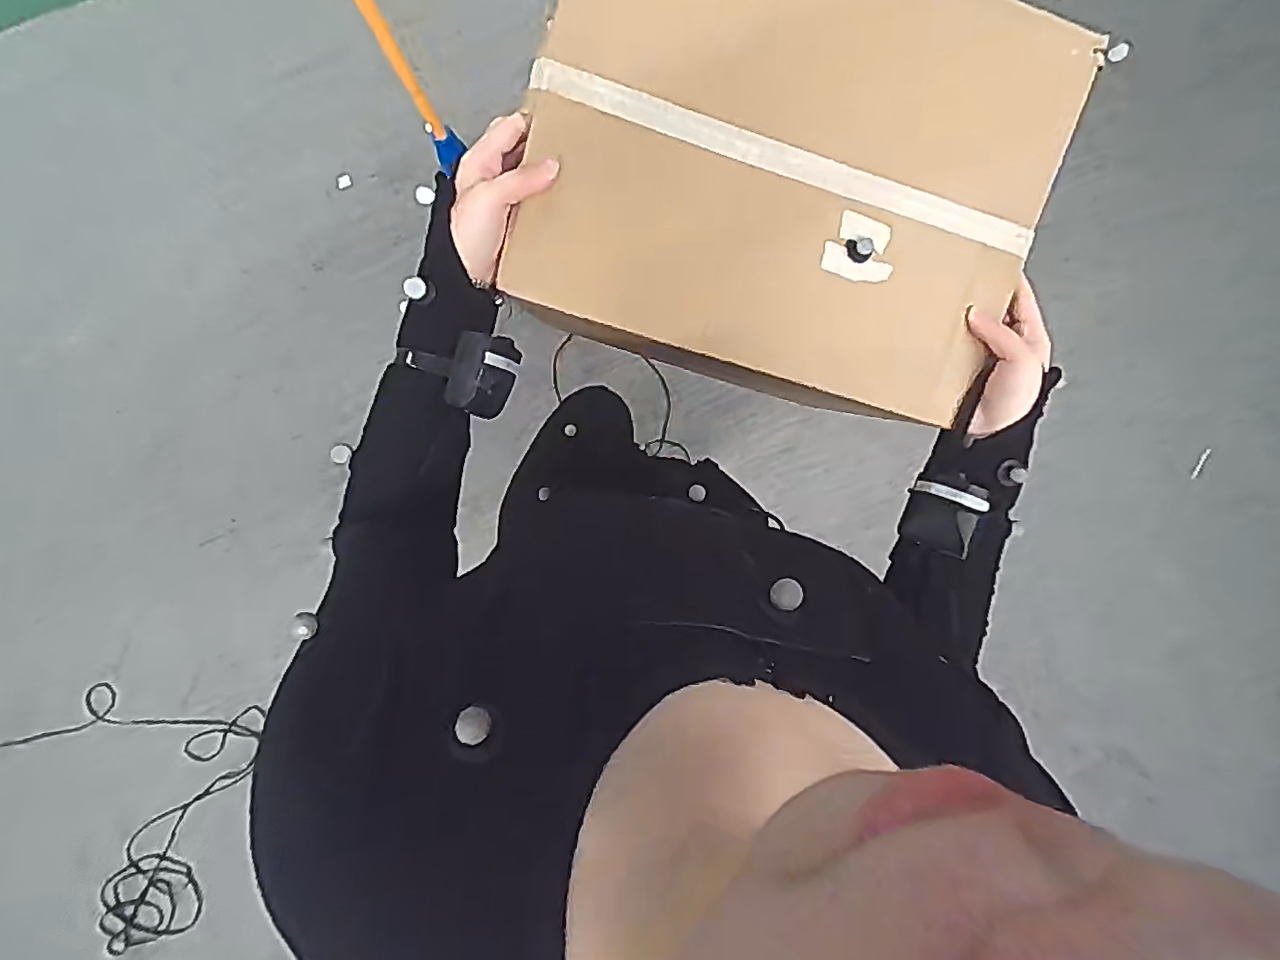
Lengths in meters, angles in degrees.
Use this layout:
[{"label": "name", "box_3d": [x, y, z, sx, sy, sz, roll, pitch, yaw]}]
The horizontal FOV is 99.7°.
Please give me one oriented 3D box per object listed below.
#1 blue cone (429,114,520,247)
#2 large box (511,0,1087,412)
[{"label": "blue cone", "box_3d": [-0.411, -0.710, 1.258, 0.193, 0.380, 0.192, -15, 94, -2]}, {"label": "large box", "box_3d": [0.111, -0.279, 0.571, 0.408, 0.320, 0.320, 15, 100, -8]}]
